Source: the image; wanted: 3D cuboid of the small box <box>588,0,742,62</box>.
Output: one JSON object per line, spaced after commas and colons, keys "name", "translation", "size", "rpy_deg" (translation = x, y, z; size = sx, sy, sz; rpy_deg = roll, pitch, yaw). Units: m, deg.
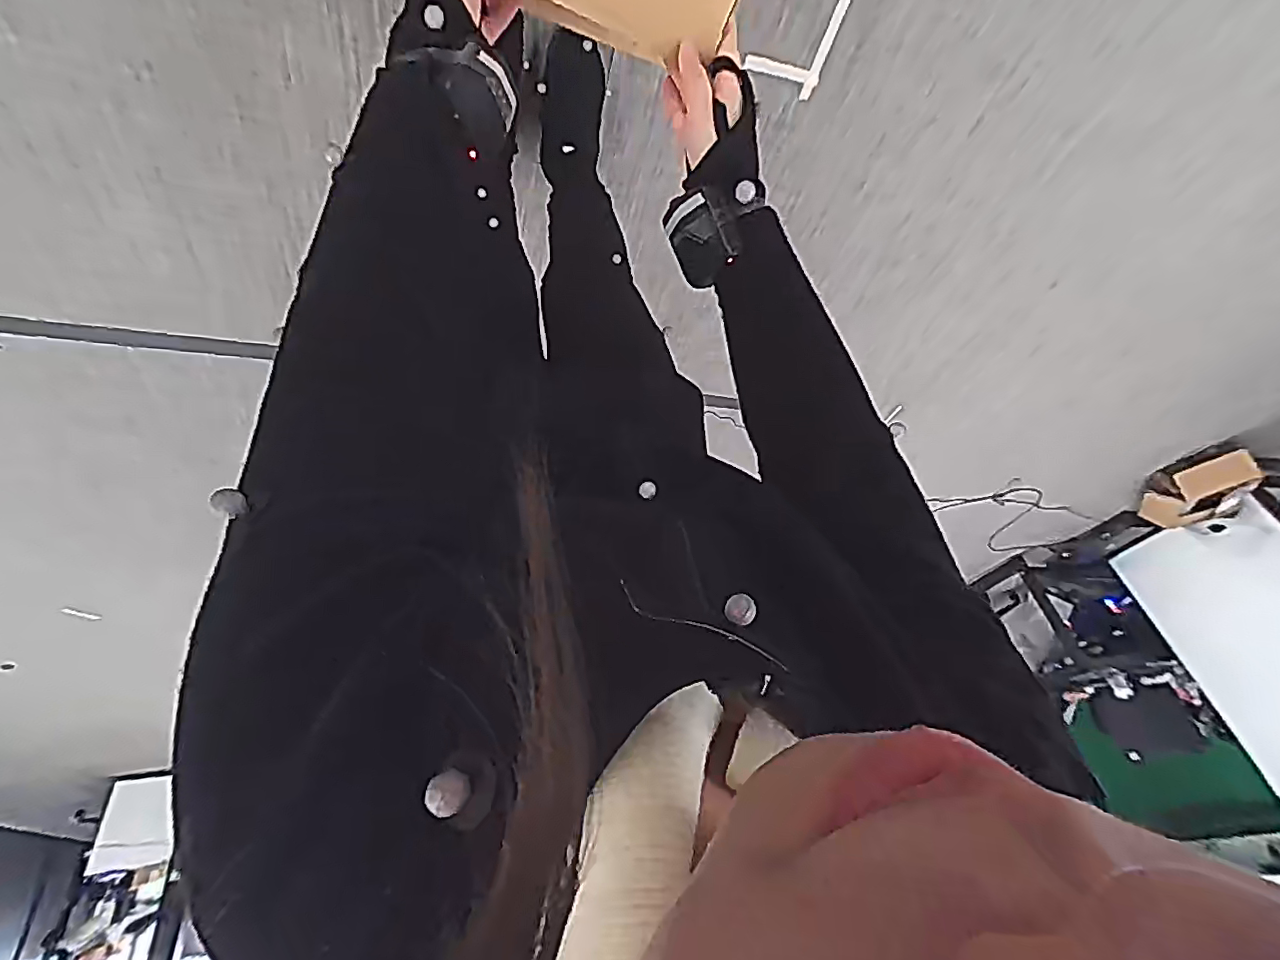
{"name": "small box", "translation": [0.001, -0.450, 0.378], "size": [0.179, 0.176, 0.168], "rpy_deg": [8, 141, -25]}
